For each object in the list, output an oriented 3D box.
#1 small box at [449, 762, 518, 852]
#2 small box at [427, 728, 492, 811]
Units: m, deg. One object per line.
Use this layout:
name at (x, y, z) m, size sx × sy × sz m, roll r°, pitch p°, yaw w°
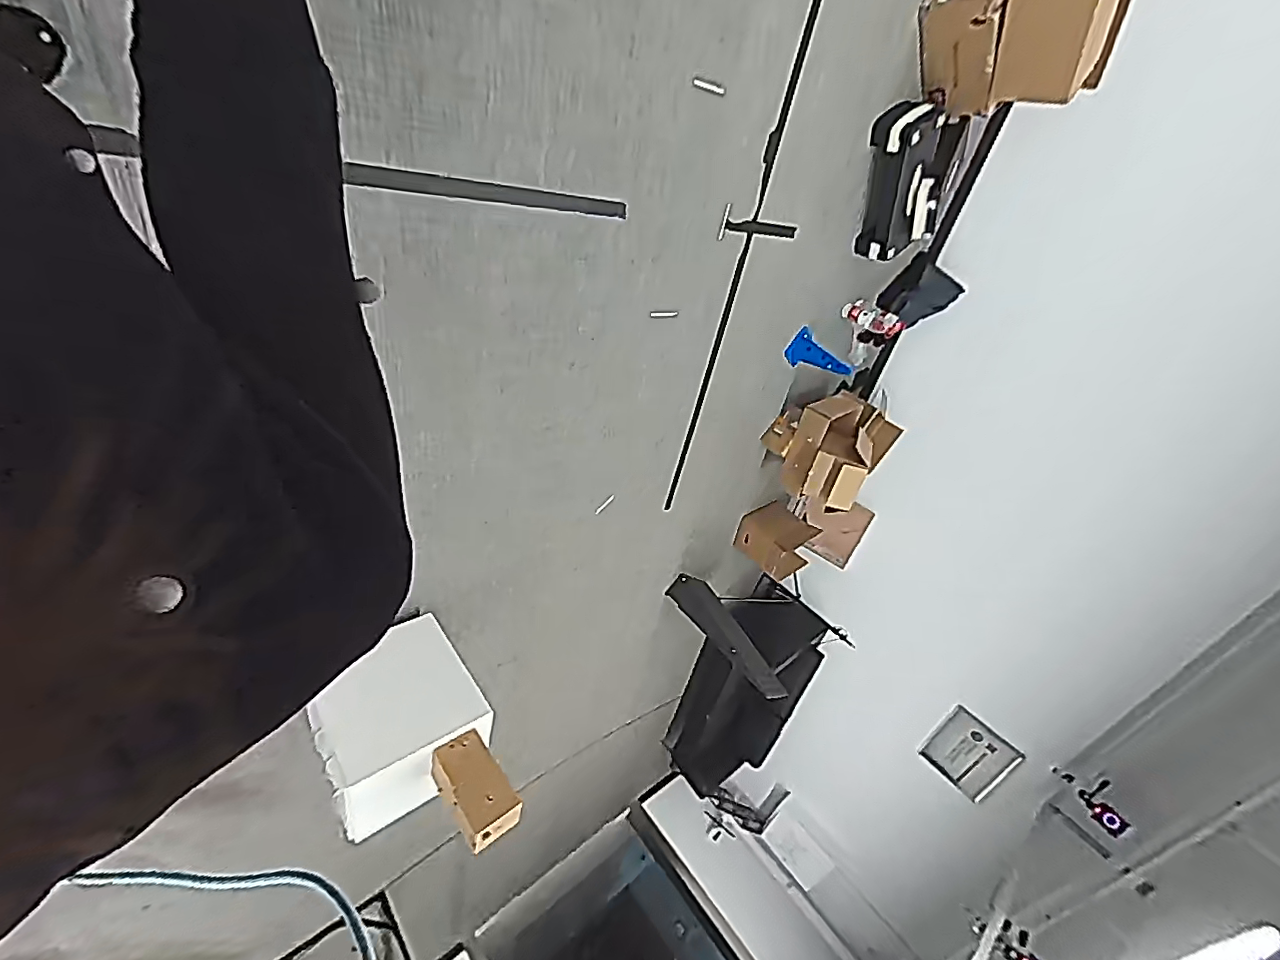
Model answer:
small box at (-0.549, 1.133, 1.882) m, size 0.179 × 0.176 × 0.168 m, roll -21°, pitch 139°, yaw -40°
small box at (-0.659, 1.045, 1.966) m, size 0.168 × 0.176 × 0.179 m, roll -16°, pitch 135°, yaw -42°
